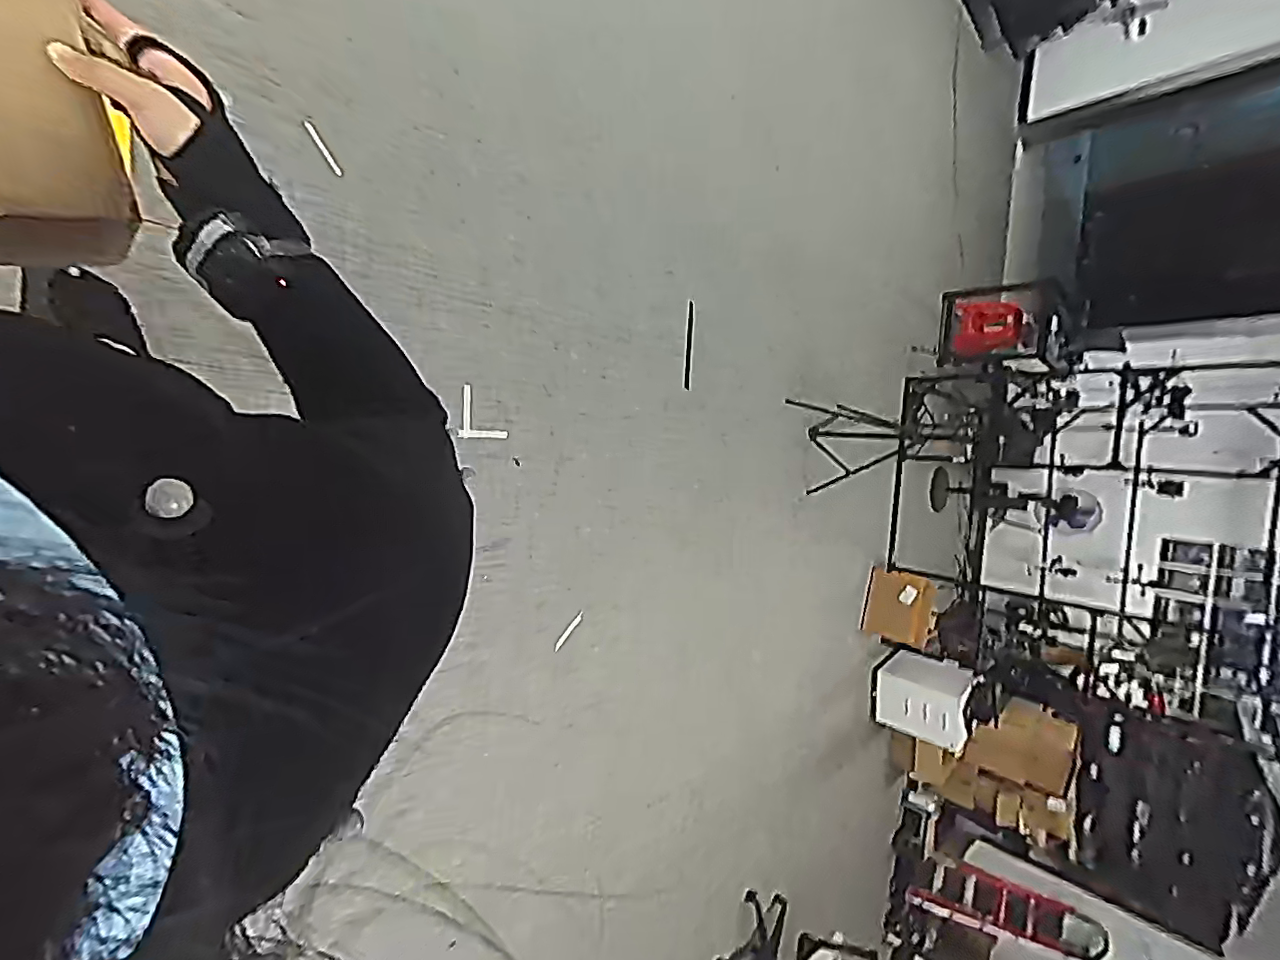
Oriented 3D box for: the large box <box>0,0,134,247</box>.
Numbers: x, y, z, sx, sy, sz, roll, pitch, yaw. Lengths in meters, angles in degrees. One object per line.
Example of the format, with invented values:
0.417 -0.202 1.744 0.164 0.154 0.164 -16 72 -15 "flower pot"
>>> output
-0.642 -0.324 0.338 0.408 0.320 0.320 -22 114 -41 "large box"
